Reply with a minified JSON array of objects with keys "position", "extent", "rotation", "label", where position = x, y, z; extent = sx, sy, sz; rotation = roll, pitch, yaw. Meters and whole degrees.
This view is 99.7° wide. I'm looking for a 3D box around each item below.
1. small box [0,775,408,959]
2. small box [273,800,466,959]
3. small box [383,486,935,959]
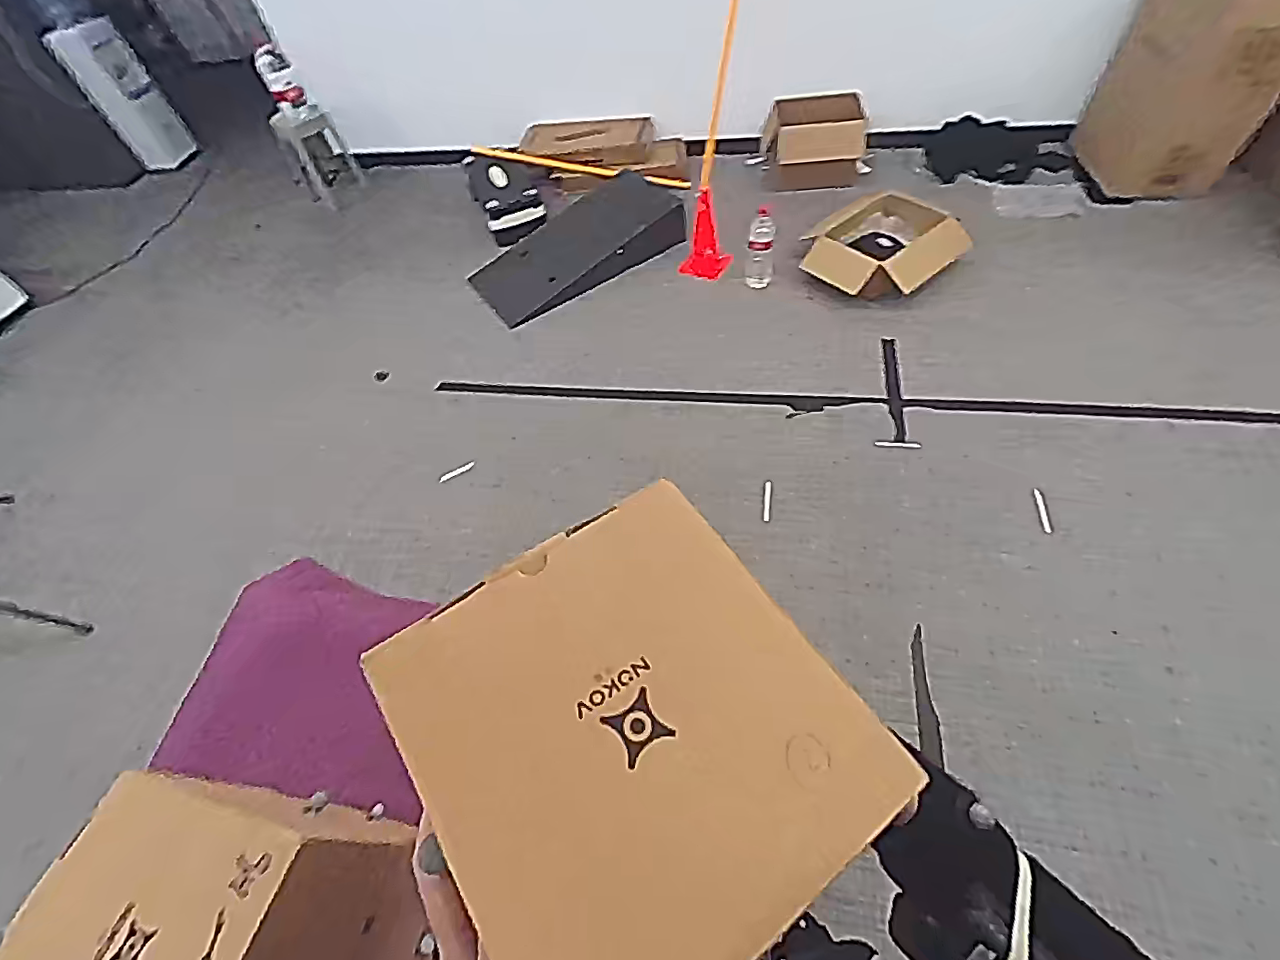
[{"position":[-0.324,0.352,0.418],"extent":[0.179,0.176,0.168],"rotation":[8,56,15],"label":"small box"},{"position":[-0.310,0.447,0.551],"extent":[0.179,0.176,0.168],"rotation":[7,56,12],"label":"small box"},{"position":[0.002,0.142,0.289],"extent":[0.168,0.176,0.179],"rotation":[-30,61,-19],"label":"small box"}]
